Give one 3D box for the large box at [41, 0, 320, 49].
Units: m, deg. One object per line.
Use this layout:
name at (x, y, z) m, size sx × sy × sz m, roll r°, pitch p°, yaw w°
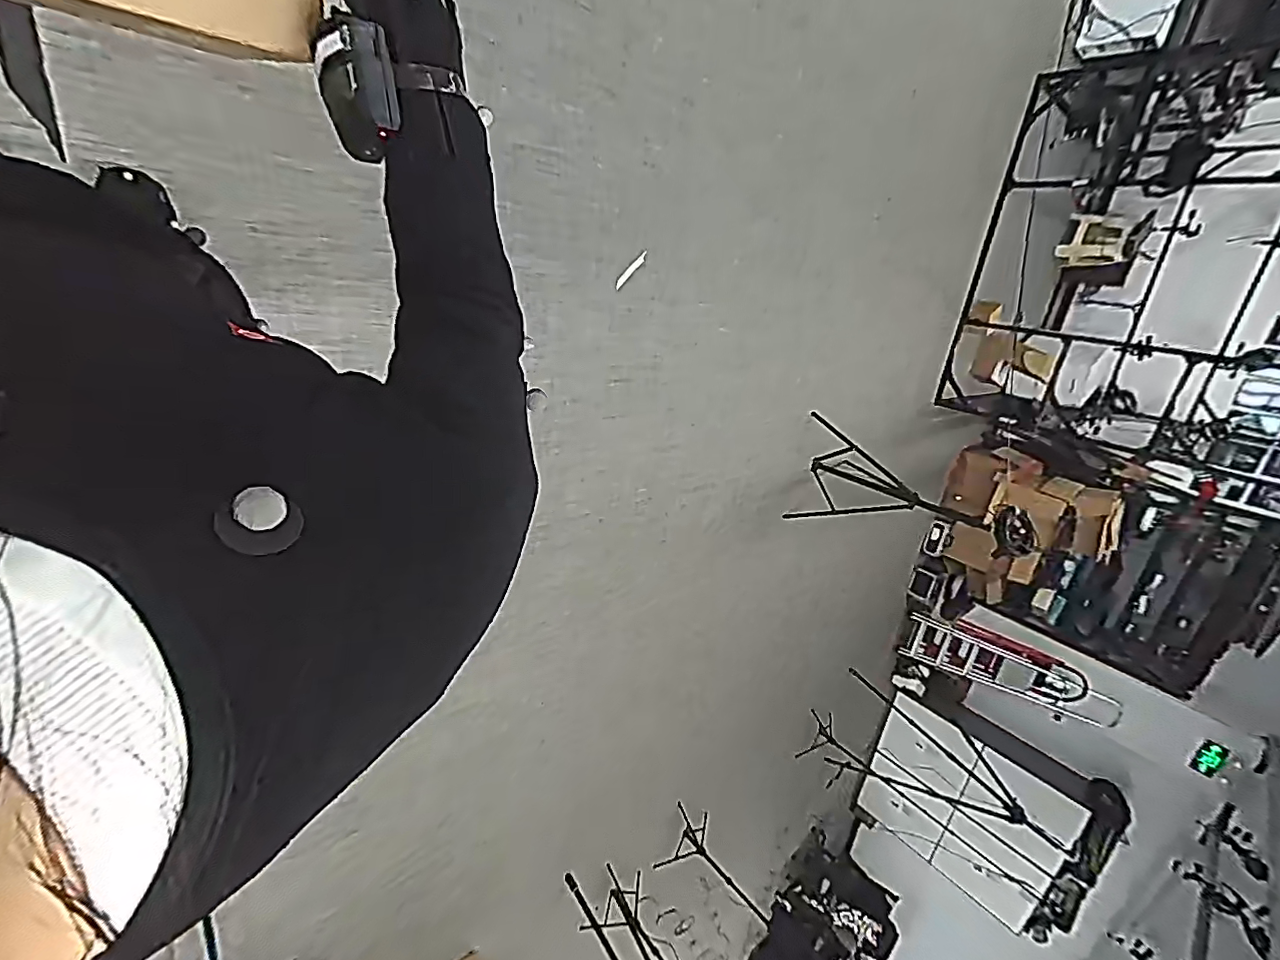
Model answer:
large box at (-0.424, -0.449, 0.251) m, size 0.408 × 0.320 × 0.320 m, roll -13°, pitch 129°, yaw -40°
